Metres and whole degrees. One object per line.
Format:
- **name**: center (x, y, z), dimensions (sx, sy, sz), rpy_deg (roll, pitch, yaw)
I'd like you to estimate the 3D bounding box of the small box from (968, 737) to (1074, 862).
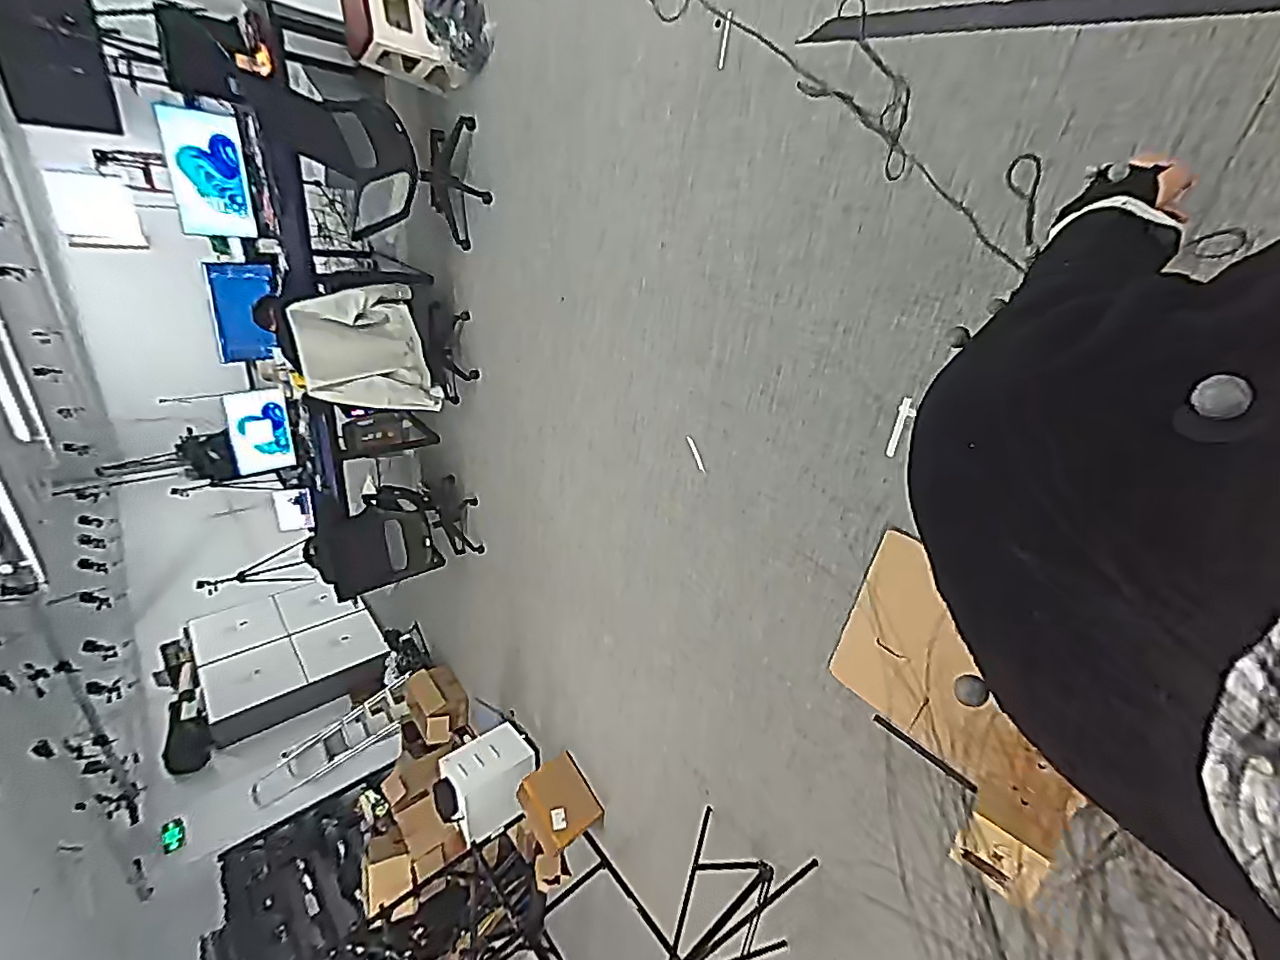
- **small box**: center (0.978, 0.810, 1.386), dimensions (0.168, 0.176, 0.179), rpy_deg (22, 119, 42)
